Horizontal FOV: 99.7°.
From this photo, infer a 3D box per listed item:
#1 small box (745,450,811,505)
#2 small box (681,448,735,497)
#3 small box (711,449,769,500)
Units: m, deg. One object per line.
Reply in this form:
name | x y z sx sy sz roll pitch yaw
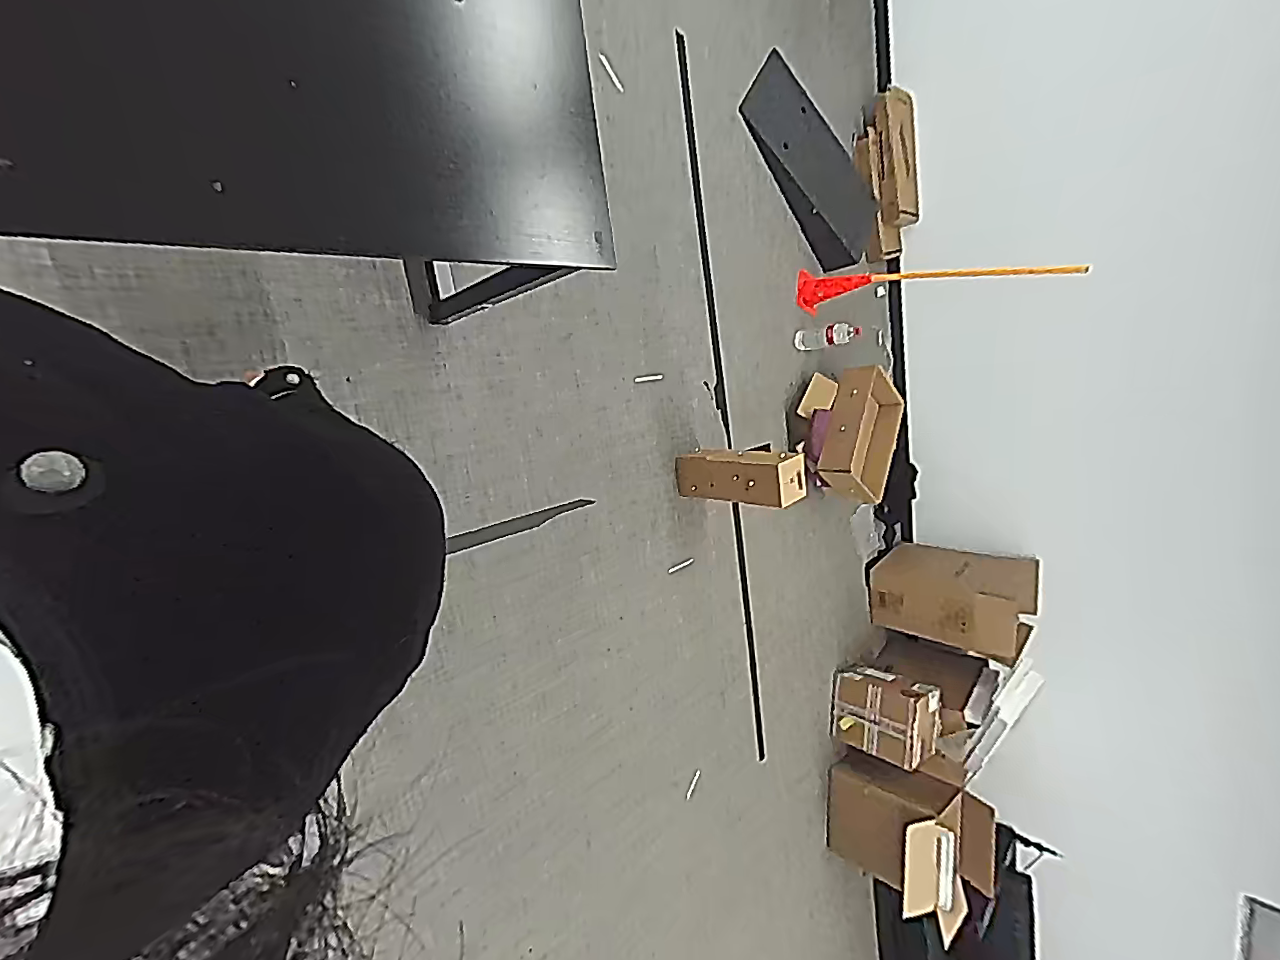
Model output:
small box | 0.514 -0.015 2.008 0.179 0.176 0.168 -20 106 -40
small box | 0.289 -0.037 2.248 0.168 0.176 0.179 -18 104 -42
small box | 0.400 -0.028 2.128 0.179 0.176 0.168 -20 106 -42
